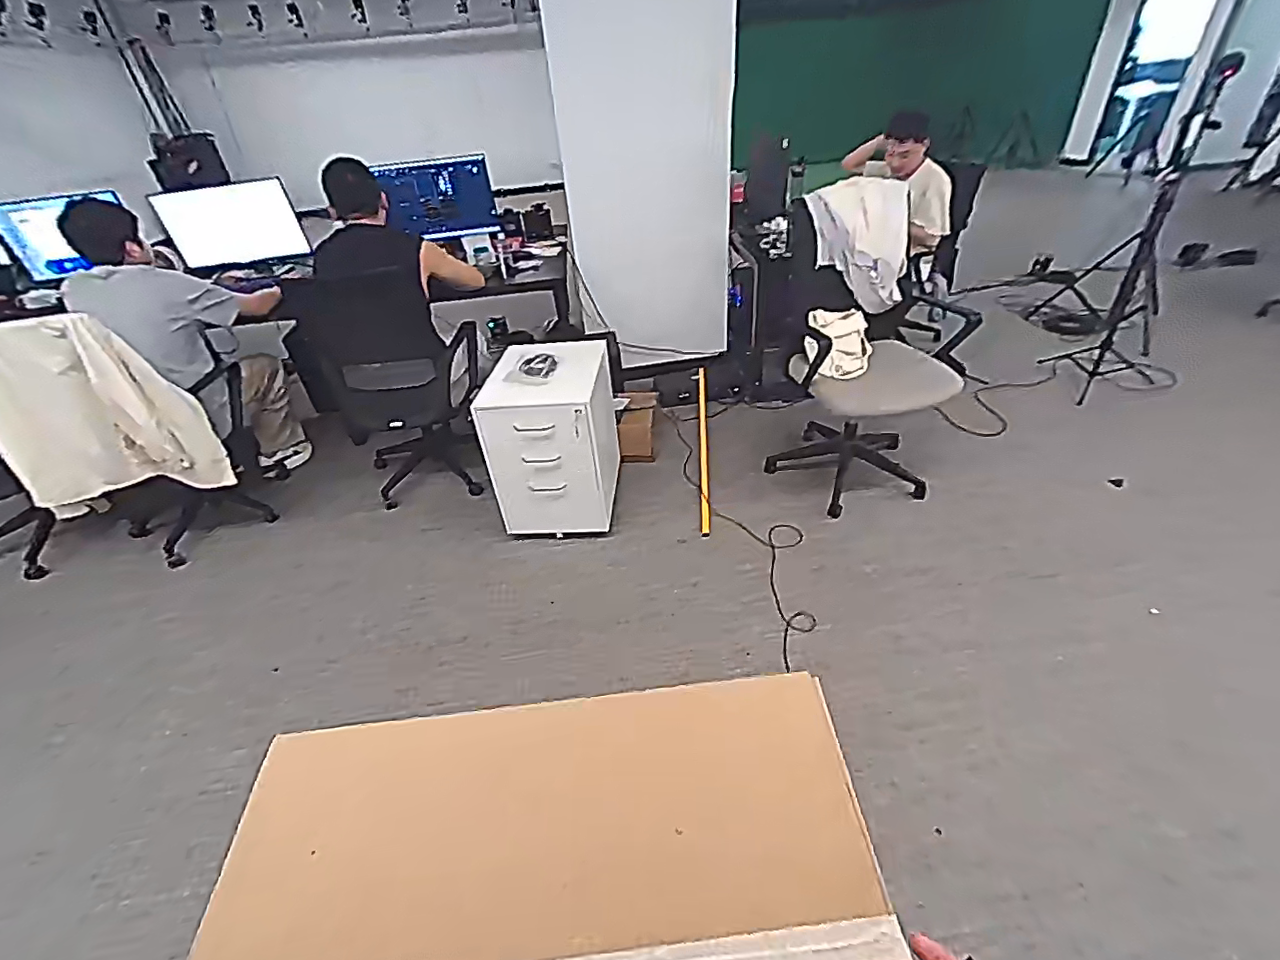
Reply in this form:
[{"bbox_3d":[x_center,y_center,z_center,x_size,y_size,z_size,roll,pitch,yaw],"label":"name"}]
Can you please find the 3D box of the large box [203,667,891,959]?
[{"bbox_3d":[-0.046,0.379,0.414,0.408,0.320,0.320,-7,45,-1],"label":"large box"}]
